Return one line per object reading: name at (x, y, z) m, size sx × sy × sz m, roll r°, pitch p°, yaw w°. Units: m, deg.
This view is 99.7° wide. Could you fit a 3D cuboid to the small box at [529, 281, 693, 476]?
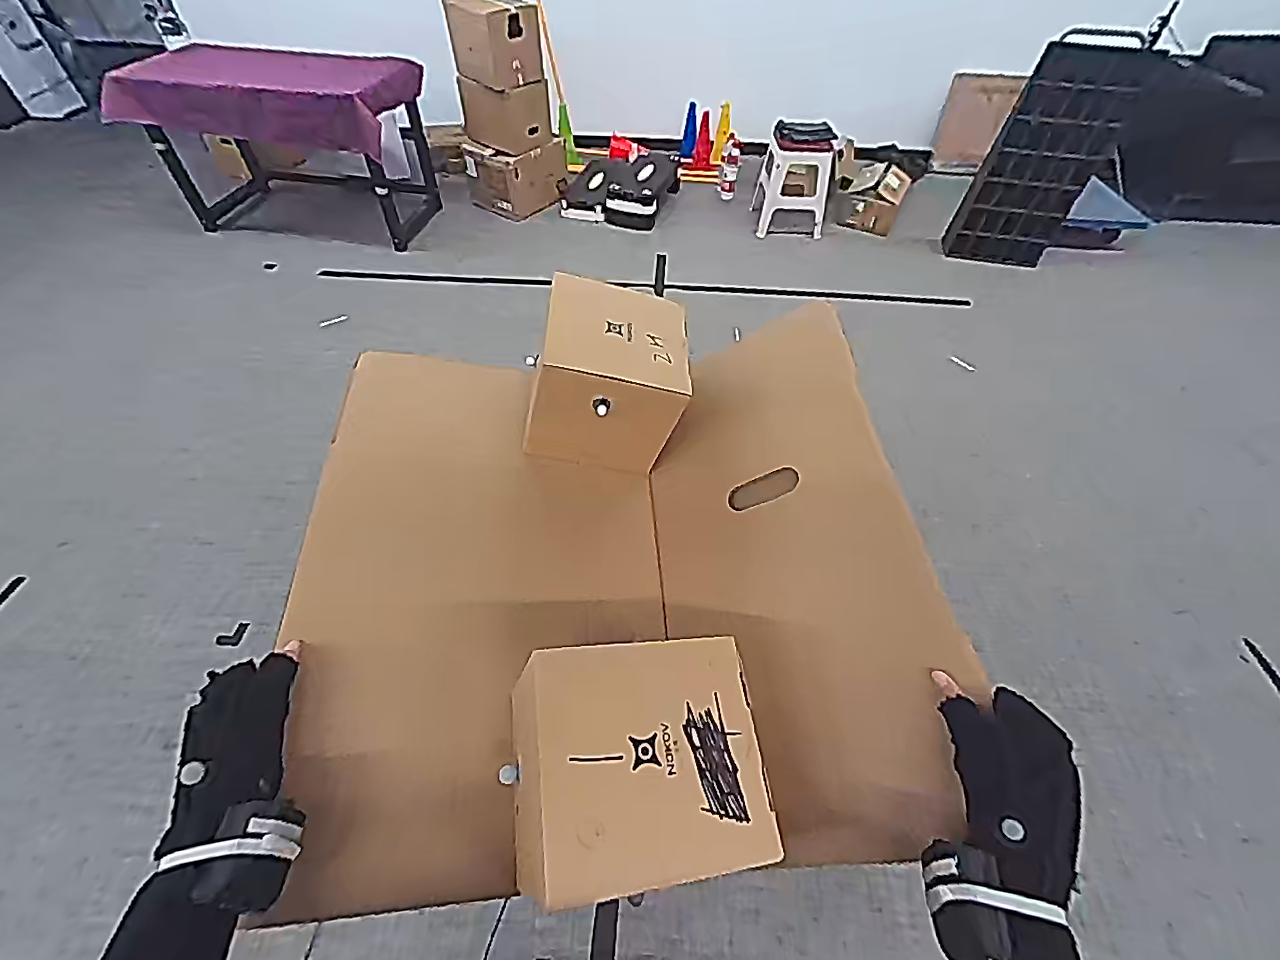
small box at (-0.044, -0.124, 0.711) m, size 0.179 × 0.176 × 0.168 m, roll 11°, pitch 55°, yaw -14°
